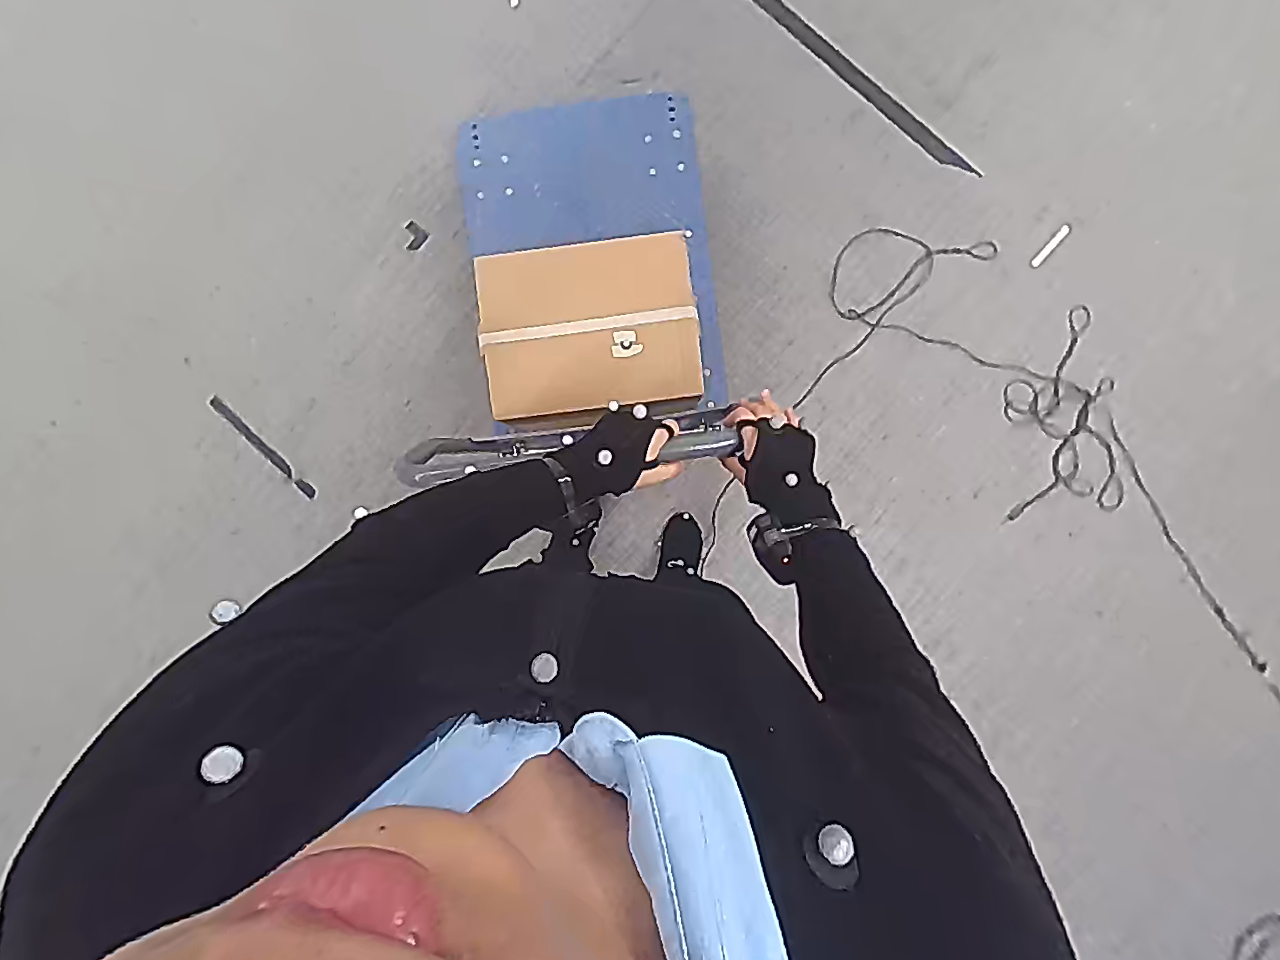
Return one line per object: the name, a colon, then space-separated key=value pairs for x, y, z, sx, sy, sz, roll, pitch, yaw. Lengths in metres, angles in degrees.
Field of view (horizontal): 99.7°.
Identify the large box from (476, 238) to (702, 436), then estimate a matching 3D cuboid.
large box: x=-0.097 y=-0.281 z=1.169 sx=0.408 sy=0.320 sz=0.320 roll=-7 pitch=91 yaw=0
